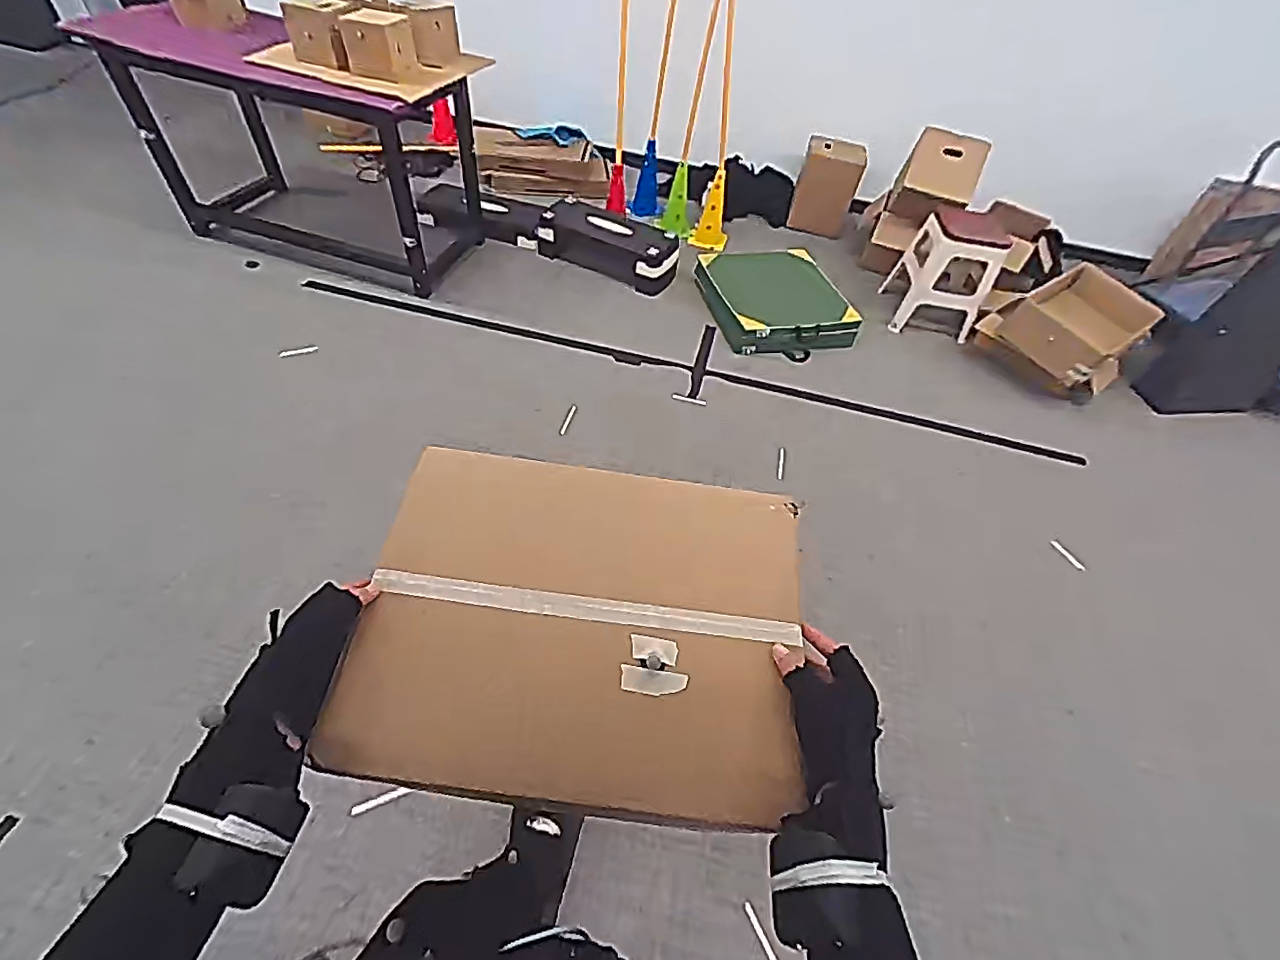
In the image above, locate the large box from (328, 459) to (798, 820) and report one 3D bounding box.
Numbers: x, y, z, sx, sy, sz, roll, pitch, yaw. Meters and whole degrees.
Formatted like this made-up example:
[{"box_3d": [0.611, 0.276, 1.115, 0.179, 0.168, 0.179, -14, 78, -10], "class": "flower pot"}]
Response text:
[{"box_3d": [-0.063, 0.207, 0.653, 0.408, 0.320, 0.320, 8, 58, -1], "class": "large box"}]
